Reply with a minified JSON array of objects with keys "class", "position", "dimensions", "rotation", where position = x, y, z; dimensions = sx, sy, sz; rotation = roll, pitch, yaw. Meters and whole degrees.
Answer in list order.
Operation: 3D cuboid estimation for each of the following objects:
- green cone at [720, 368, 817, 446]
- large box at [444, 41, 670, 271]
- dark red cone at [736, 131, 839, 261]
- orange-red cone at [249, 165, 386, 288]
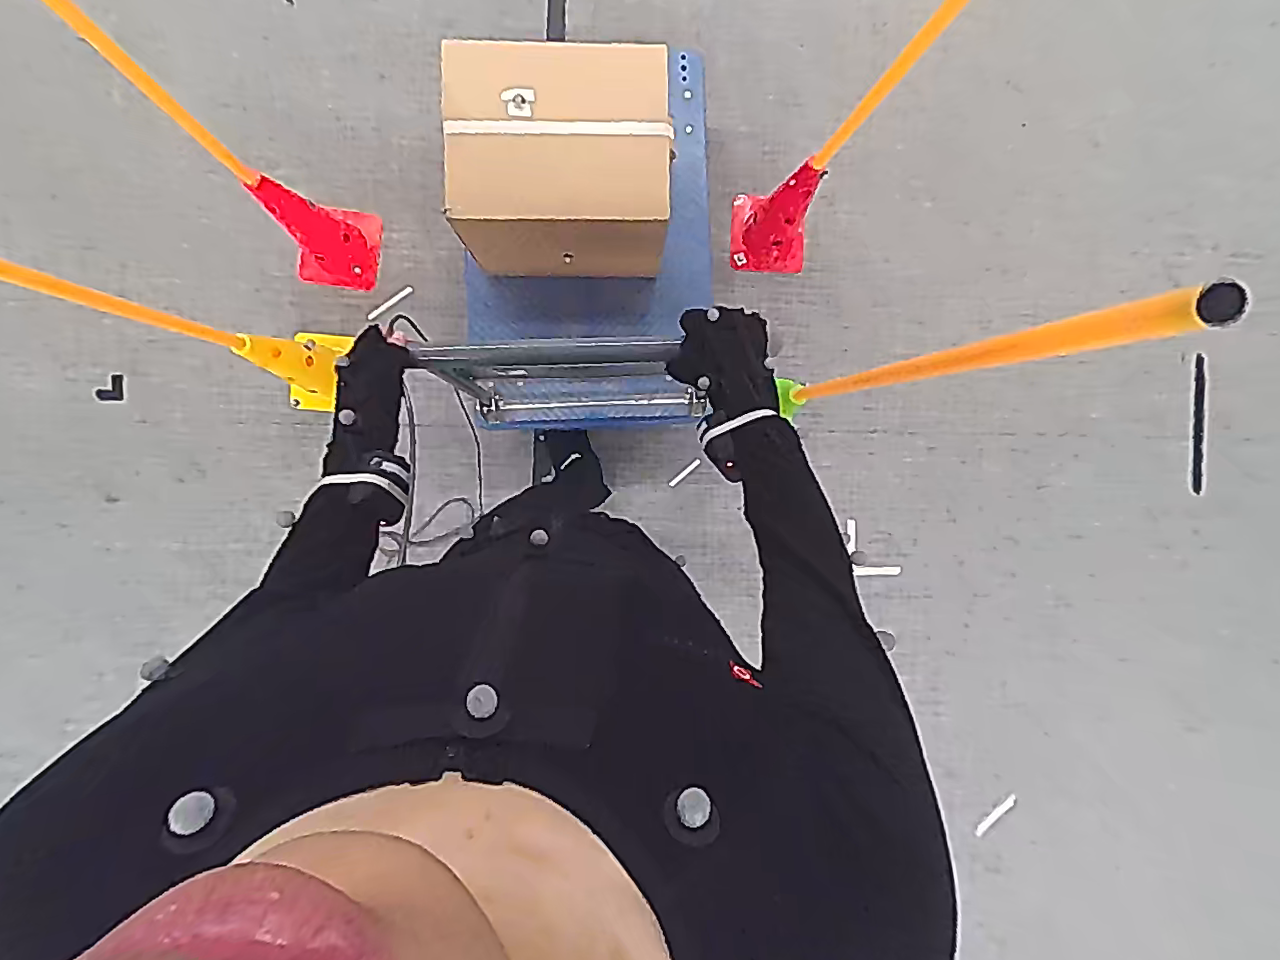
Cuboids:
[{"class":"green cone","position":[0.331,-0.192,1.293],"dimensions":[0.202,0.368,0.200],"rotation":[5,92,-3]},{"class":"large box","position":[-0.149,-0.638,1.120],"dimensions":[0.408,0.320,0.320],"rotation":[-1,92,-1]},{"class":"dark red cone","position":[0.363,-0.675,1.262],"dimensions":[0.201,0.394,0.202],"rotation":[1,92,-4]},{"class":"orange-red cone","position":[-0.769,-0.613,1.247],"dimensions":[0.198,0.360,0.199],"rotation":[9,90,-3]}]
